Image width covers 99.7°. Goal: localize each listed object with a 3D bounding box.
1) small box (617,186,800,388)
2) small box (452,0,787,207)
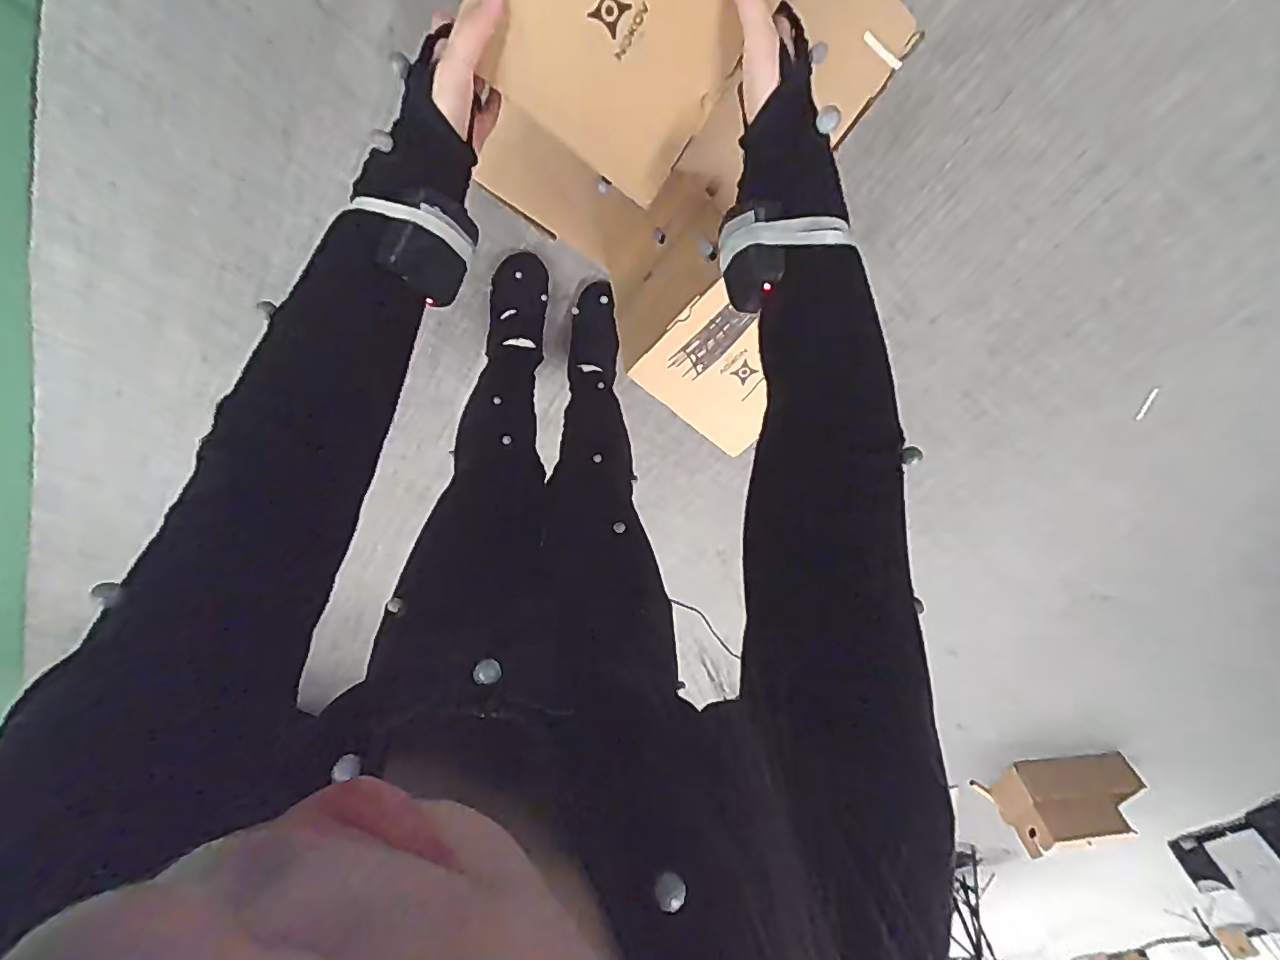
[{"bbox_3d":[0.080,-0.269,0.744,0.168,0.176,0.179,30,119,-27],"label":"small box"},{"bbox_3d":[-0.020,-0.354,0.438,0.179,0.176,0.168,29,116,-21],"label":"small box"}]
